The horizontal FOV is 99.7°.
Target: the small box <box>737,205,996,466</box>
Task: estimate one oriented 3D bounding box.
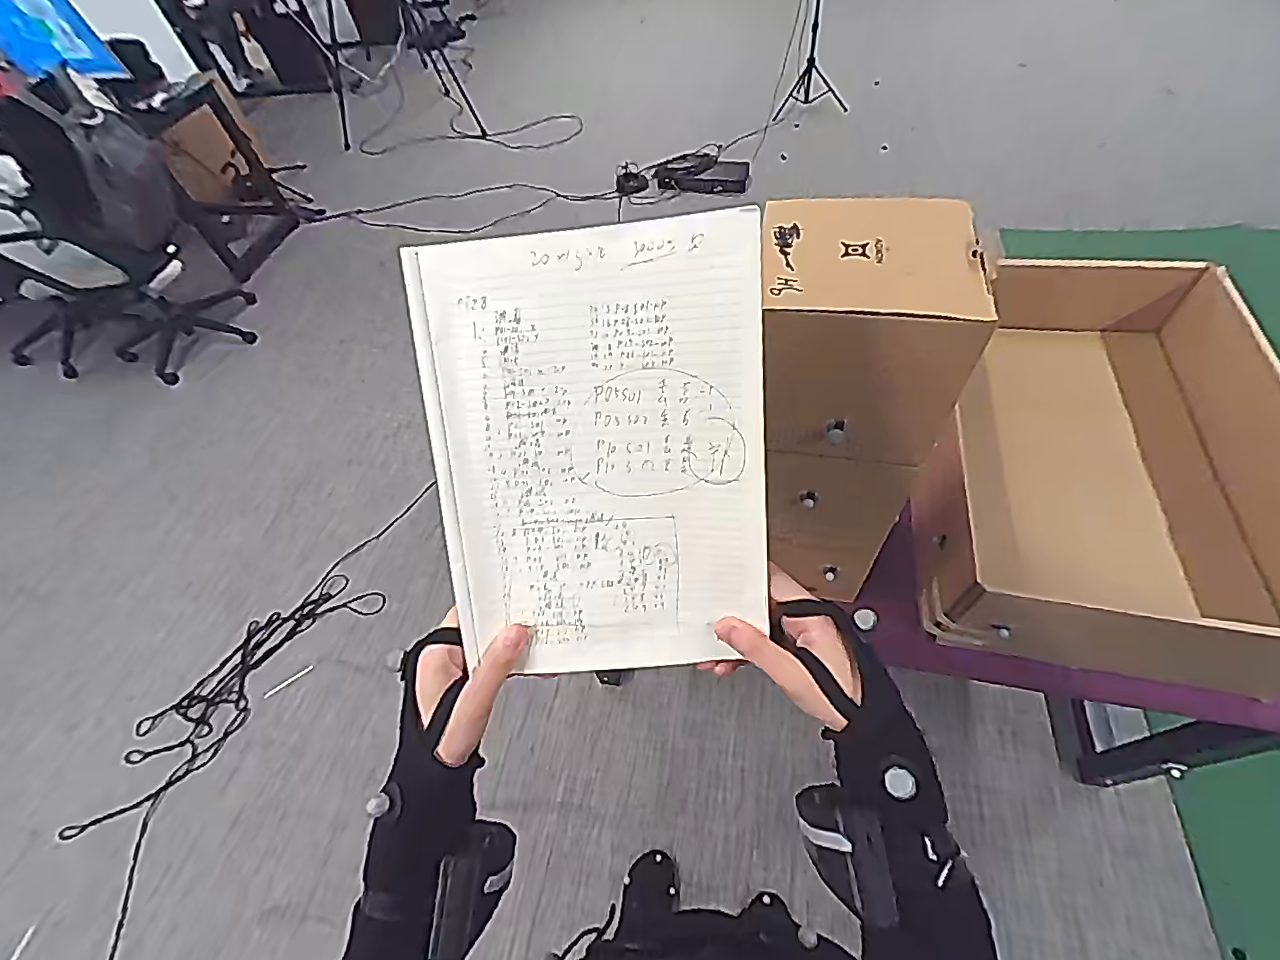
[{"bbox_3d":[0.193,-0.131,0.507,0.179,0.176,0.168,7,54,12],"label":"small box"}]

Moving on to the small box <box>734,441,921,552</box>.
[{"bbox_3d":[0.211,-0.032,0.638,0.179,0.176,0.168,7,54,14],"label":"small box"}]
